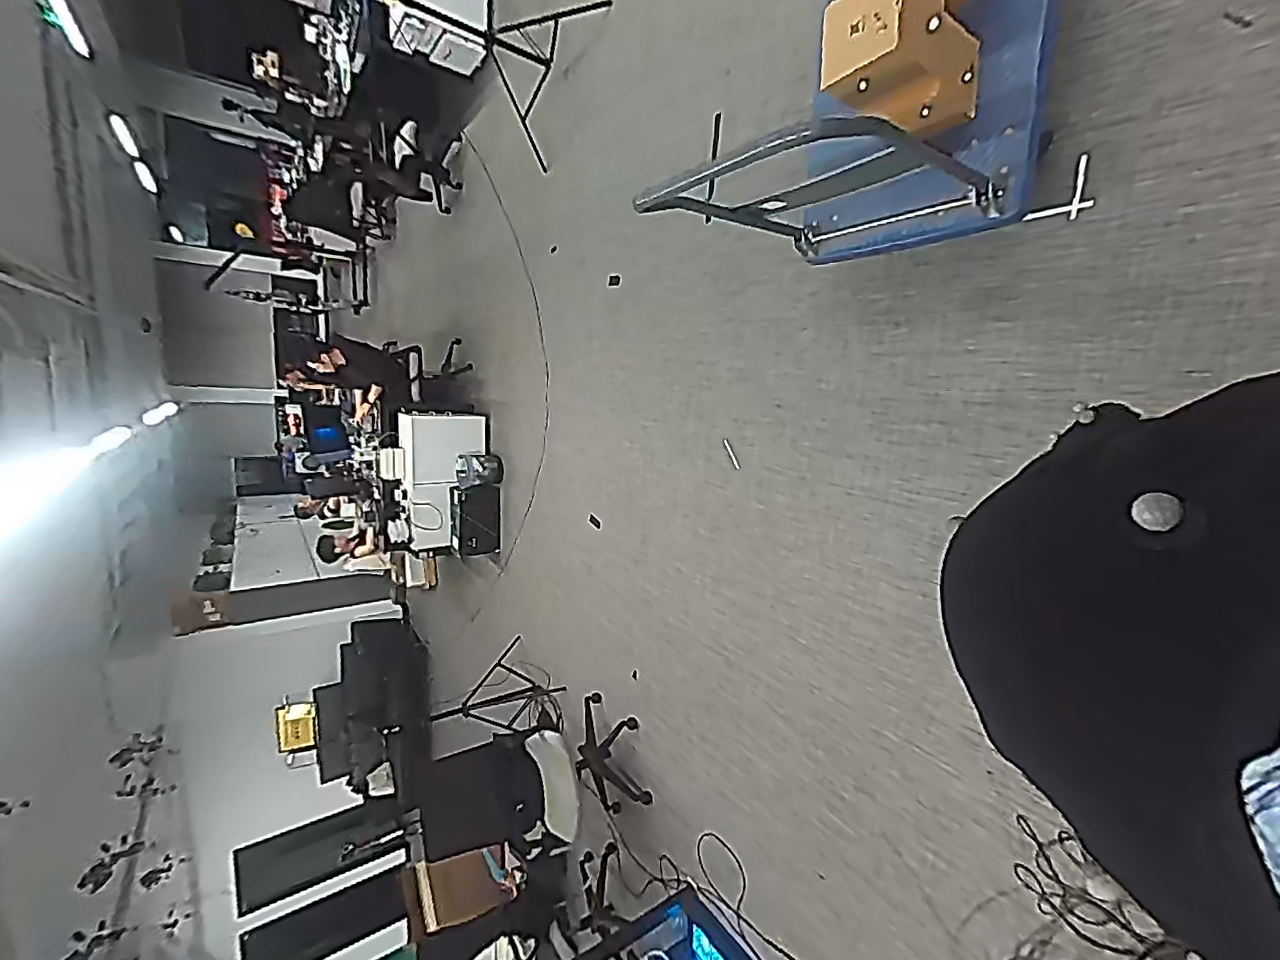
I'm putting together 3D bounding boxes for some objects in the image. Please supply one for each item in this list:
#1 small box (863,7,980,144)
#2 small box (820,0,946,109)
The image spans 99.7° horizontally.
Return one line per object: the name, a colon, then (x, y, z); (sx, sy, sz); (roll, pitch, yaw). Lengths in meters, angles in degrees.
small box: (0.637, -0.901, 1.227); (0.179, 0.176, 0.168); (8, 100, 53)
small box: (0.504, -0.918, 1.128); (0.179, 0.176, 0.168); (9, 101, 53)
